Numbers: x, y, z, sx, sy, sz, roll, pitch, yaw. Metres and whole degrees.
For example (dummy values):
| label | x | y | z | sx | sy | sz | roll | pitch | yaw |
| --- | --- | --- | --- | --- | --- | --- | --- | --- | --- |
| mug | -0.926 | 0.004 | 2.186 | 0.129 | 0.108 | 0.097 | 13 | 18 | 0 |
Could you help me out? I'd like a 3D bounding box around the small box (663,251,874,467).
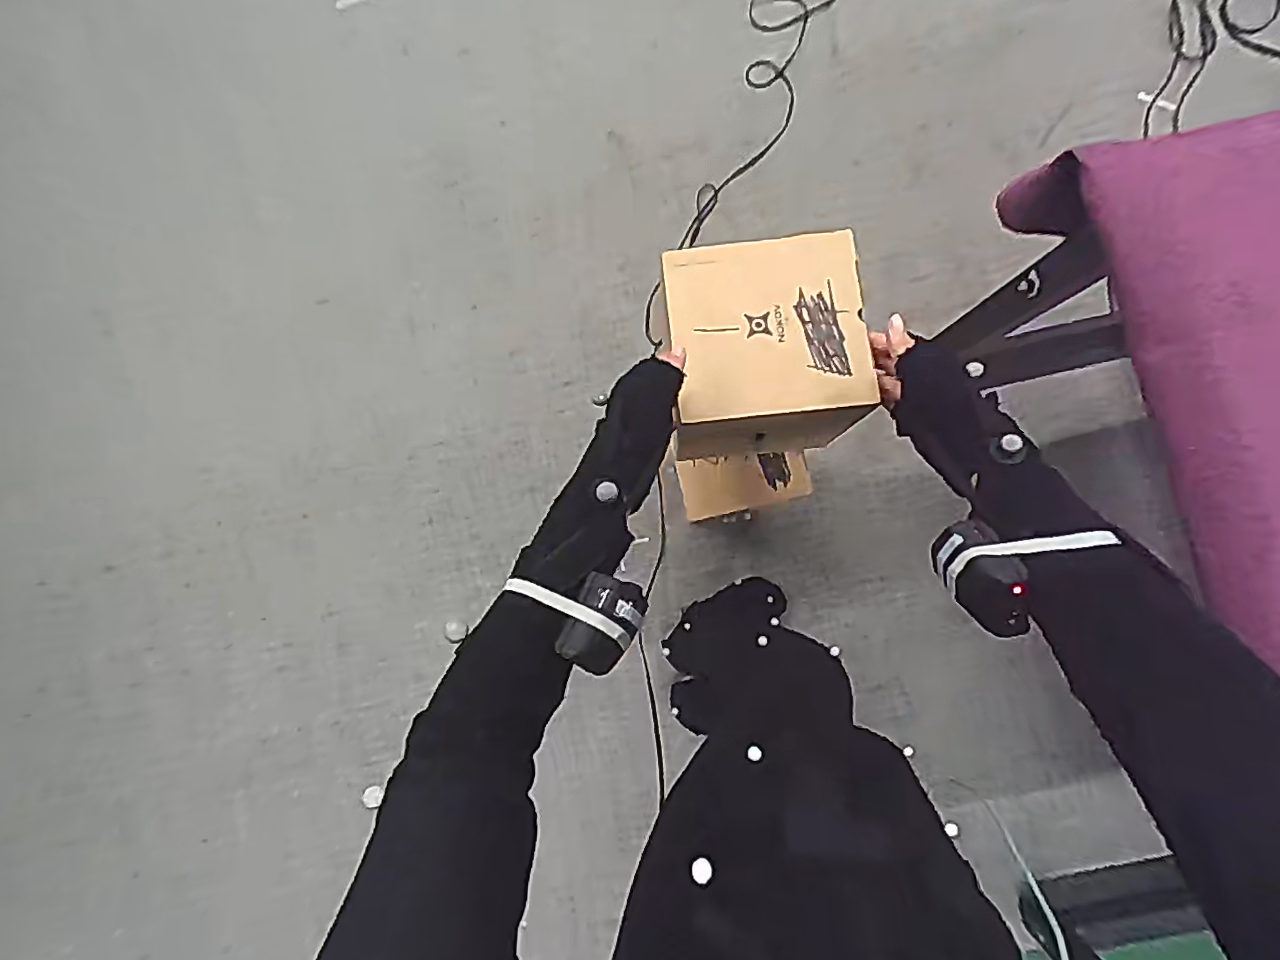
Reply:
| label | x | y | z | sx | sy | sz | roll | pitch | yaw |
| --- | --- | --- | --- | --- | --- | --- | --- | --- | --- |
| small box | 0.117 | -0.112 | 0.566 | 0.179 | 0.176 | 0.168 | -5 | 80 | 2 |
